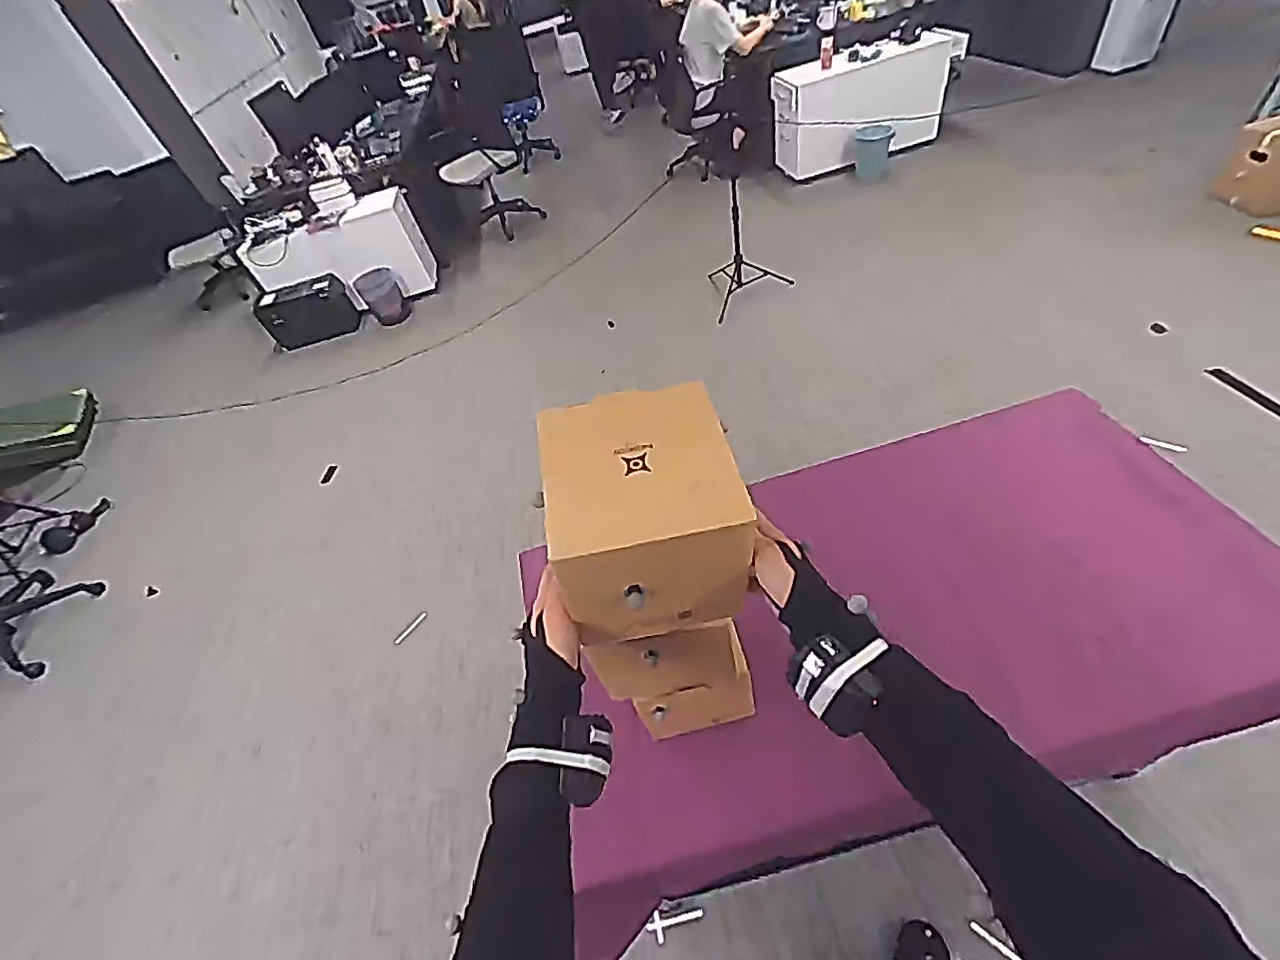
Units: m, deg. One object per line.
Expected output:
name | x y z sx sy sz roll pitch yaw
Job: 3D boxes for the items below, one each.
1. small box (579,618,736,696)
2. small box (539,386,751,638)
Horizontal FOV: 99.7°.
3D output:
small box | 0.025 0.175 0.731 0.179 0.176 0.168 -11 47 5
small box | 0.003 0.038 0.532 0.168 0.176 0.179 -11 48 -3
